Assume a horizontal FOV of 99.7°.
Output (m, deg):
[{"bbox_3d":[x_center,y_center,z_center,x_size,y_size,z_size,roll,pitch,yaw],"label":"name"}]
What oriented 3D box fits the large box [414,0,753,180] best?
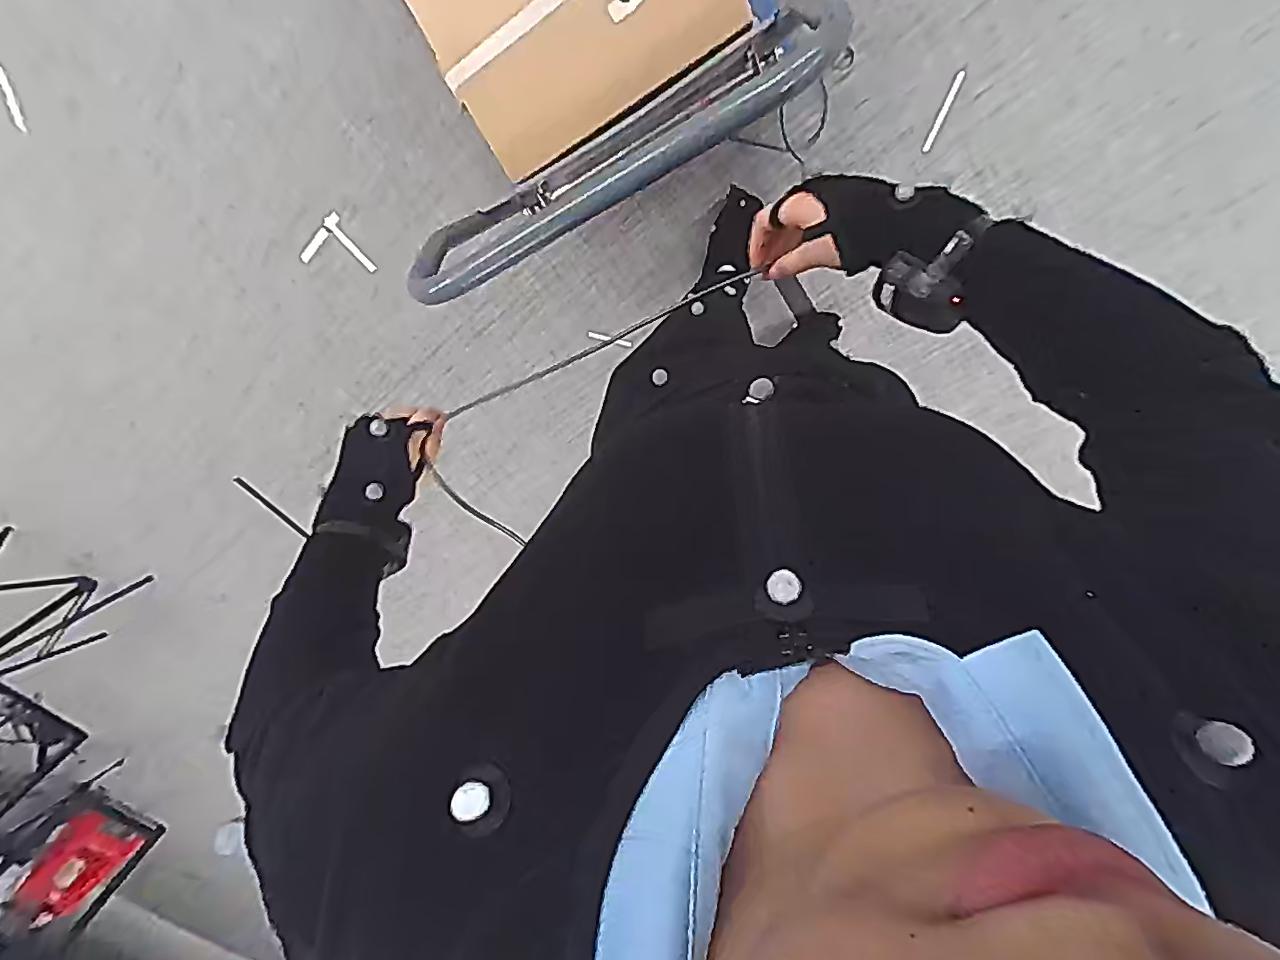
[{"bbox_3d":[-0.075,-0.733,0.849,0.408,0.320,0.320,-23,116,20],"label":"large box"}]
